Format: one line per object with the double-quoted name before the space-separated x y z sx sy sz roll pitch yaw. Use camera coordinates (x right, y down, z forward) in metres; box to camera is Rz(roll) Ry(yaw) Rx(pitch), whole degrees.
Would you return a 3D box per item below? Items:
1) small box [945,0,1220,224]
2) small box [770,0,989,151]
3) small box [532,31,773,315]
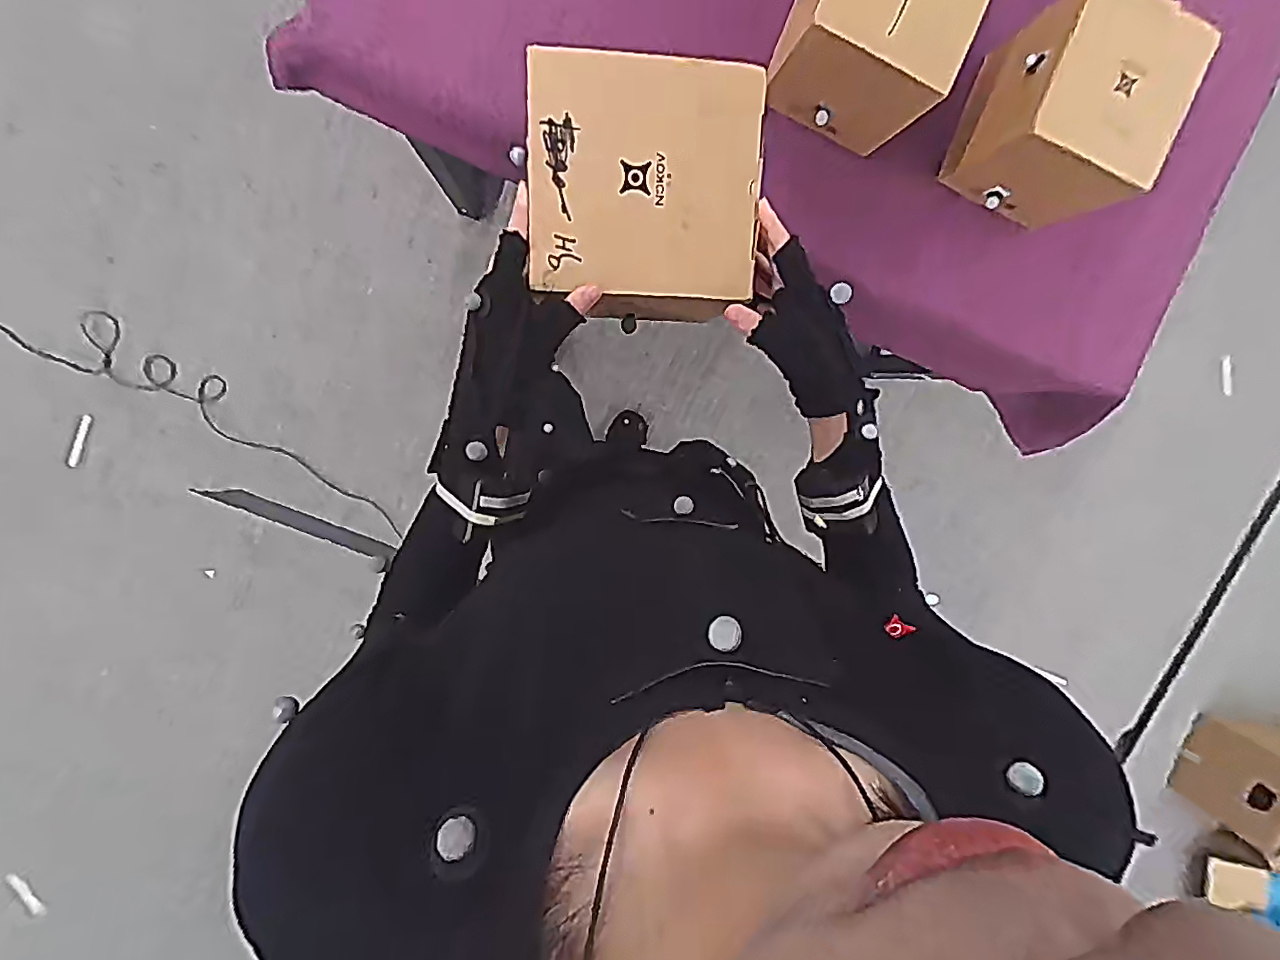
"small box" 0.518 -0.448 0.662 0.168 0.176 0.179 18 98 -9
"small box" 0.266 -0.522 0.614 0.168 0.176 0.179 20 98 -10
"small box" -0.001 -0.242 0.477 0.179 0.176 0.168 1 99 -7
